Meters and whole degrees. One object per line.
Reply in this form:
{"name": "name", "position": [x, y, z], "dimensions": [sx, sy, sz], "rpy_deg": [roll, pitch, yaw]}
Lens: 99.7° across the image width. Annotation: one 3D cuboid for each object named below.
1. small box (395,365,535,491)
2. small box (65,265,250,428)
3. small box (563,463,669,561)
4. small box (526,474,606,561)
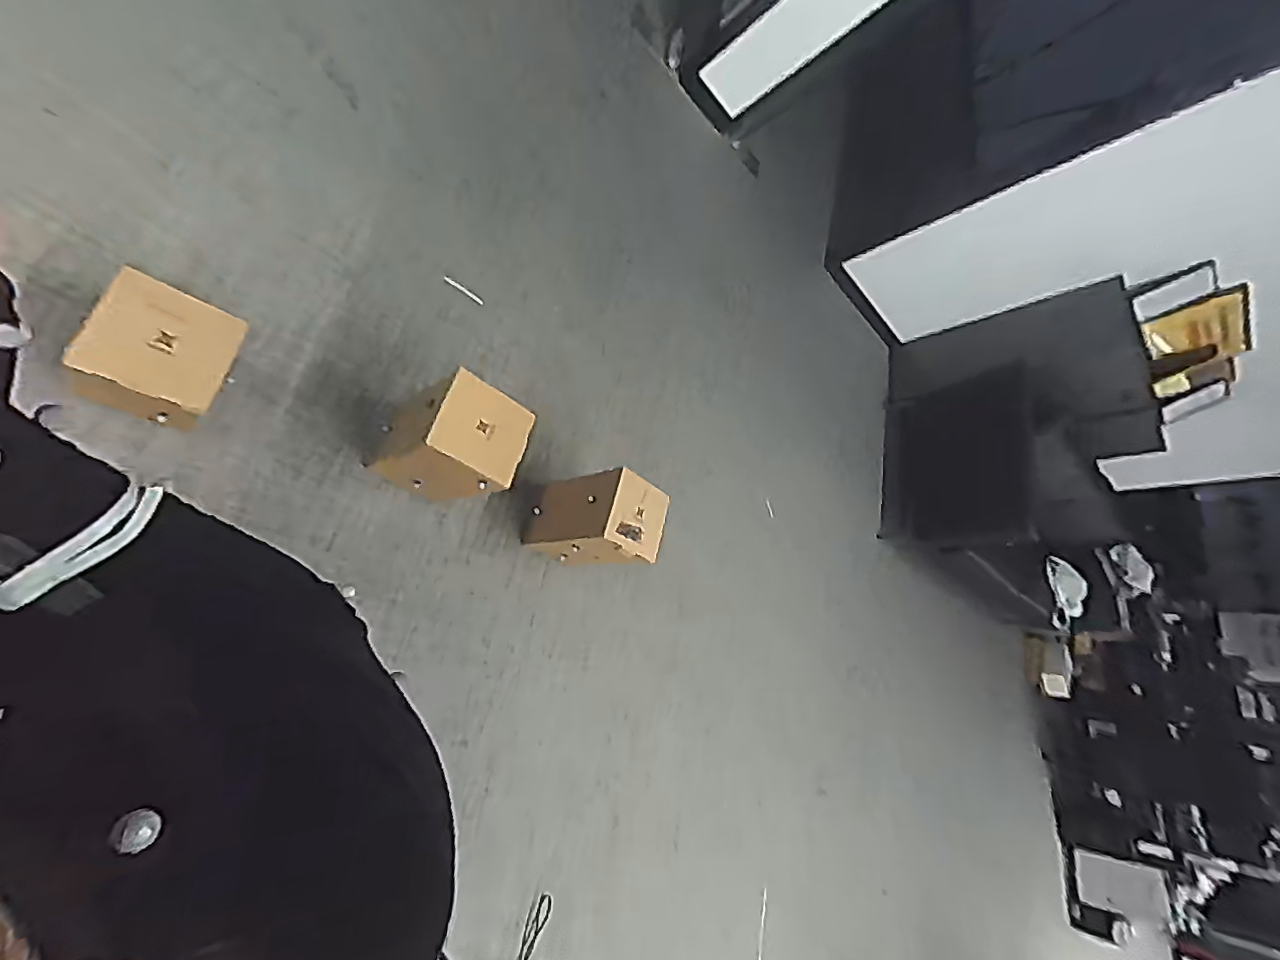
{"name": "small box", "position": [-0.341, -0.089, 1.049], "dimensions": [0.179, 0.176, 0.168], "rpy_deg": [33, 60, -35]}
{"name": "small box", "position": [-0.777, -0.203, 0.881], "dimensions": [0.168, 0.176, 0.179], "rpy_deg": [28, 63, -38]}
{"name": "small box", "position": [-0.061, 0.085, 1.284], "dimensions": [0.168, 0.176, 0.179], "rpy_deg": [33, 60, -35]}
{"name": "small box", "position": [-0.172, 0.105, 1.405], "dimensions": [0.168, 0.176, 0.179], "rpy_deg": [32, 62, -36]}
